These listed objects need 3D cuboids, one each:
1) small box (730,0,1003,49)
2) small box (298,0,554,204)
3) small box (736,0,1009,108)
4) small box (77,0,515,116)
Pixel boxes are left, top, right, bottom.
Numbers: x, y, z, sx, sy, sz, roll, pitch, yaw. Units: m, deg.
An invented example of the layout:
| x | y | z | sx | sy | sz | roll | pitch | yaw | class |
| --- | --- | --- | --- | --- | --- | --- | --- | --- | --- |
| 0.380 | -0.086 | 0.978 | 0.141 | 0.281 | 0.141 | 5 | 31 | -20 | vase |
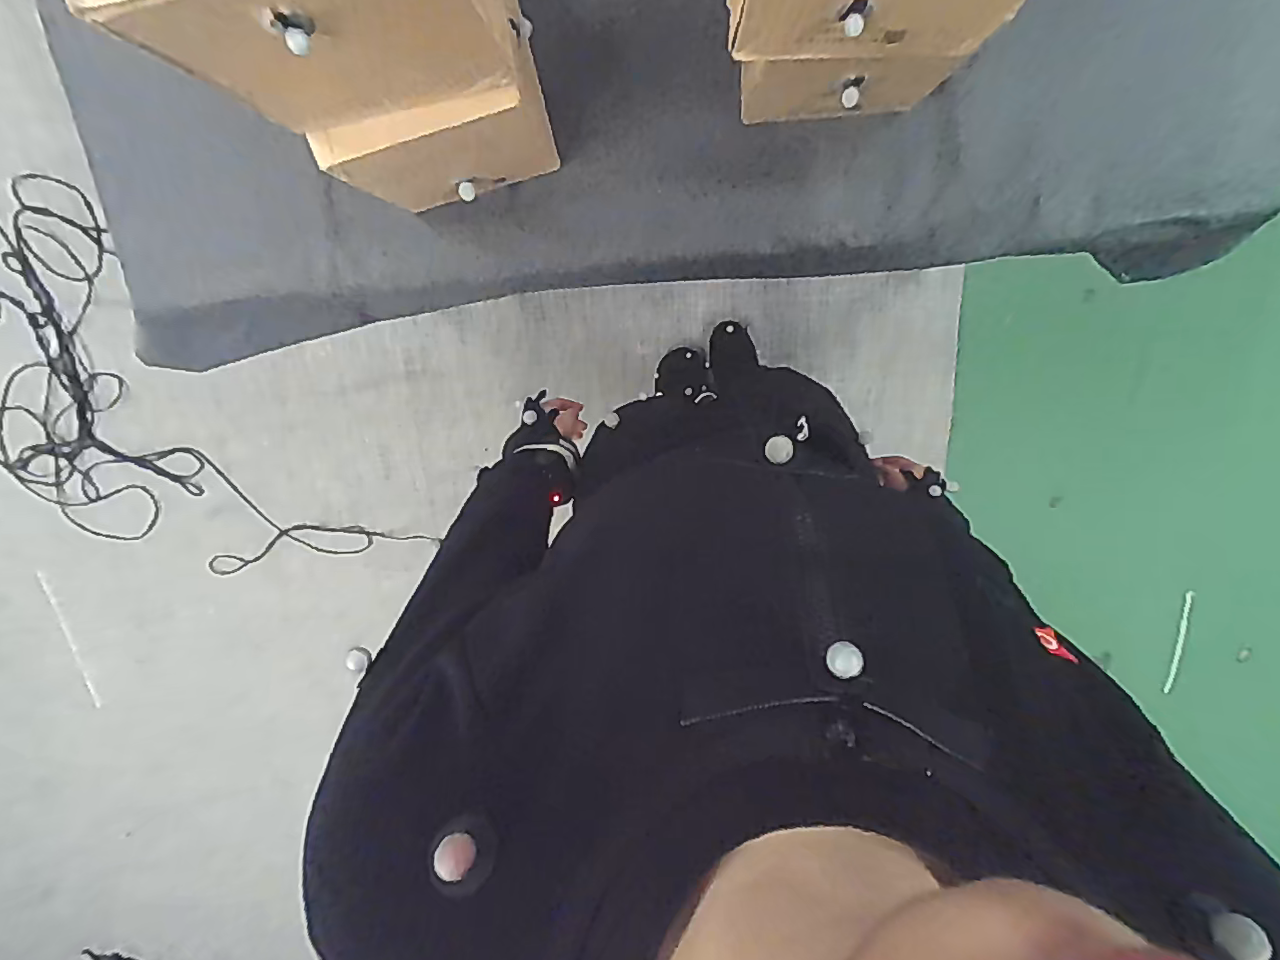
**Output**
| x | y | z | sx | sy | sz | roll | pitch | yaw | class |
| --- | --- | --- | --- | --- | --- | --- | --- | --- | --- |
| 0.139 | -0.362 | 0.274 | 0.168 | 0.176 | 0.179 | 0 | 106 | 2 | small box |
| -0.184 | -0.360 | 0.456 | 0.168 | 0.176 | 0.179 | -13 | 106 | 6 | small box |
| 0.169 | -0.420 | 0.426 | 0.168 | 0.176 | 0.179 | -3 | 106 | 3 | small box |
| -0.188 | -0.330 | 0.295 | 0.179 | 0.176 | 0.168 | -10 | 107 | 4 | small box |
